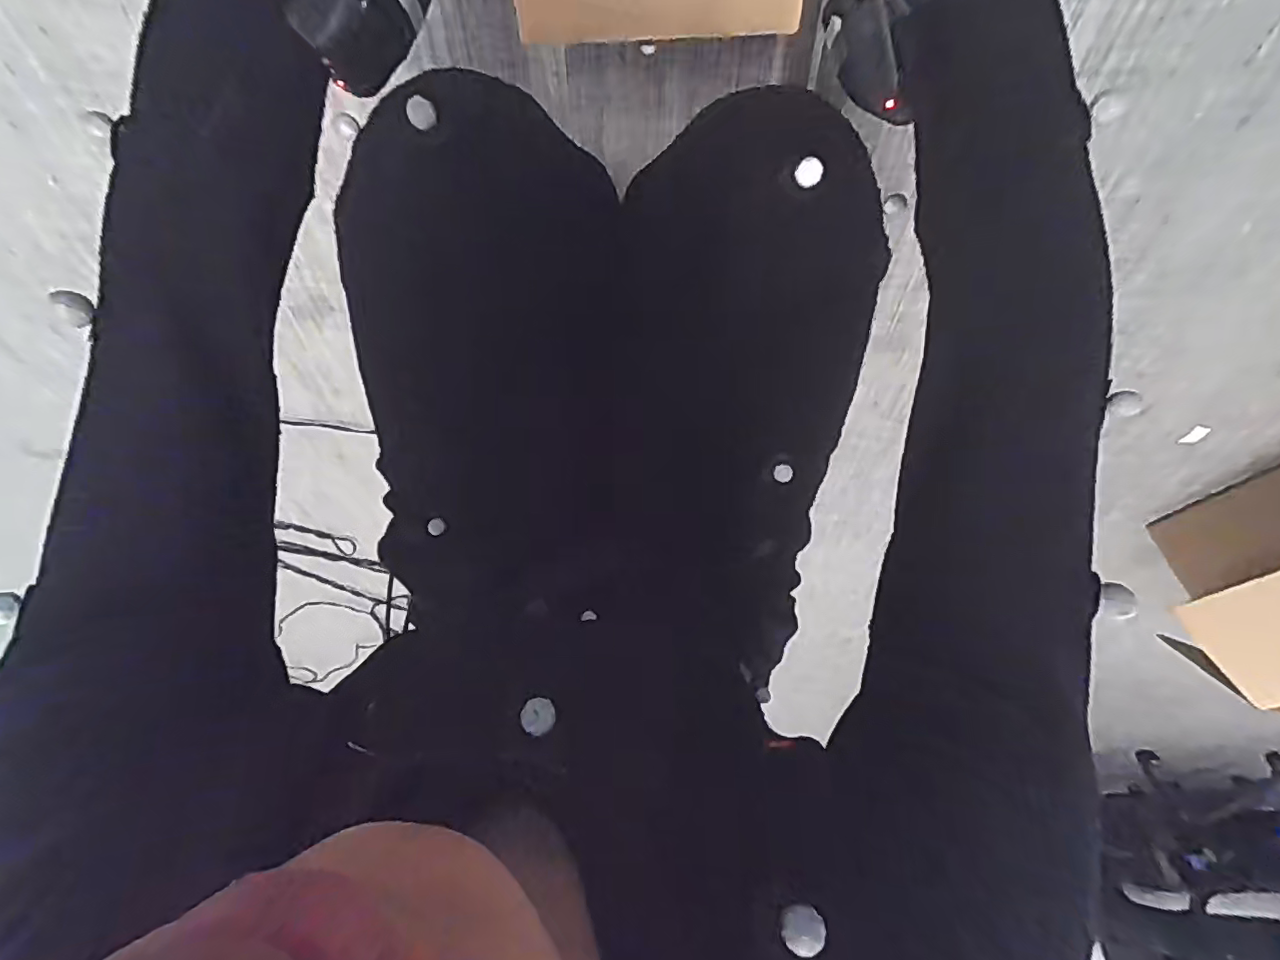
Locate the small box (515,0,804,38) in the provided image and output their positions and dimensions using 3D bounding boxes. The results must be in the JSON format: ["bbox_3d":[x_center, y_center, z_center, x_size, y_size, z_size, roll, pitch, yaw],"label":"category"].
[{"bbox_3d":[0.012,-0.391,0.316,0.179,0.176,0.168,1,145,5],"label":"small box"}]
